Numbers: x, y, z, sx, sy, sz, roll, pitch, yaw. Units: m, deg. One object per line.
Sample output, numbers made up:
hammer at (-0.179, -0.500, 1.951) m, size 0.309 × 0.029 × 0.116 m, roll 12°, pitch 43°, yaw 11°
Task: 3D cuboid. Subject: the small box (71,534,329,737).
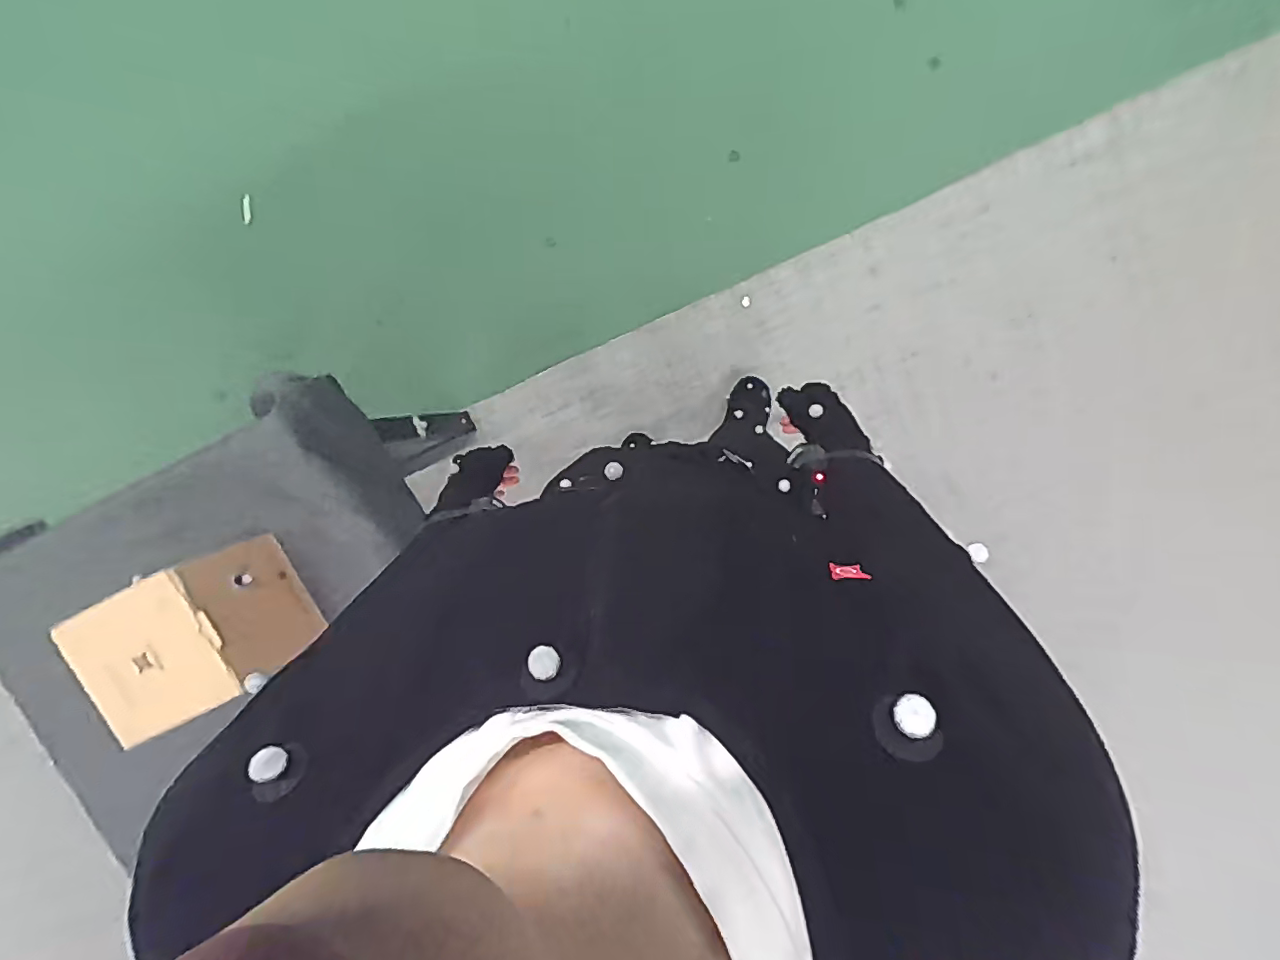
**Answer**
small box at (-0.551, 0.190, 0.711) m, size 0.179 × 0.176 × 0.168 m, roll -27°, pitch 96°, yaw 9°
